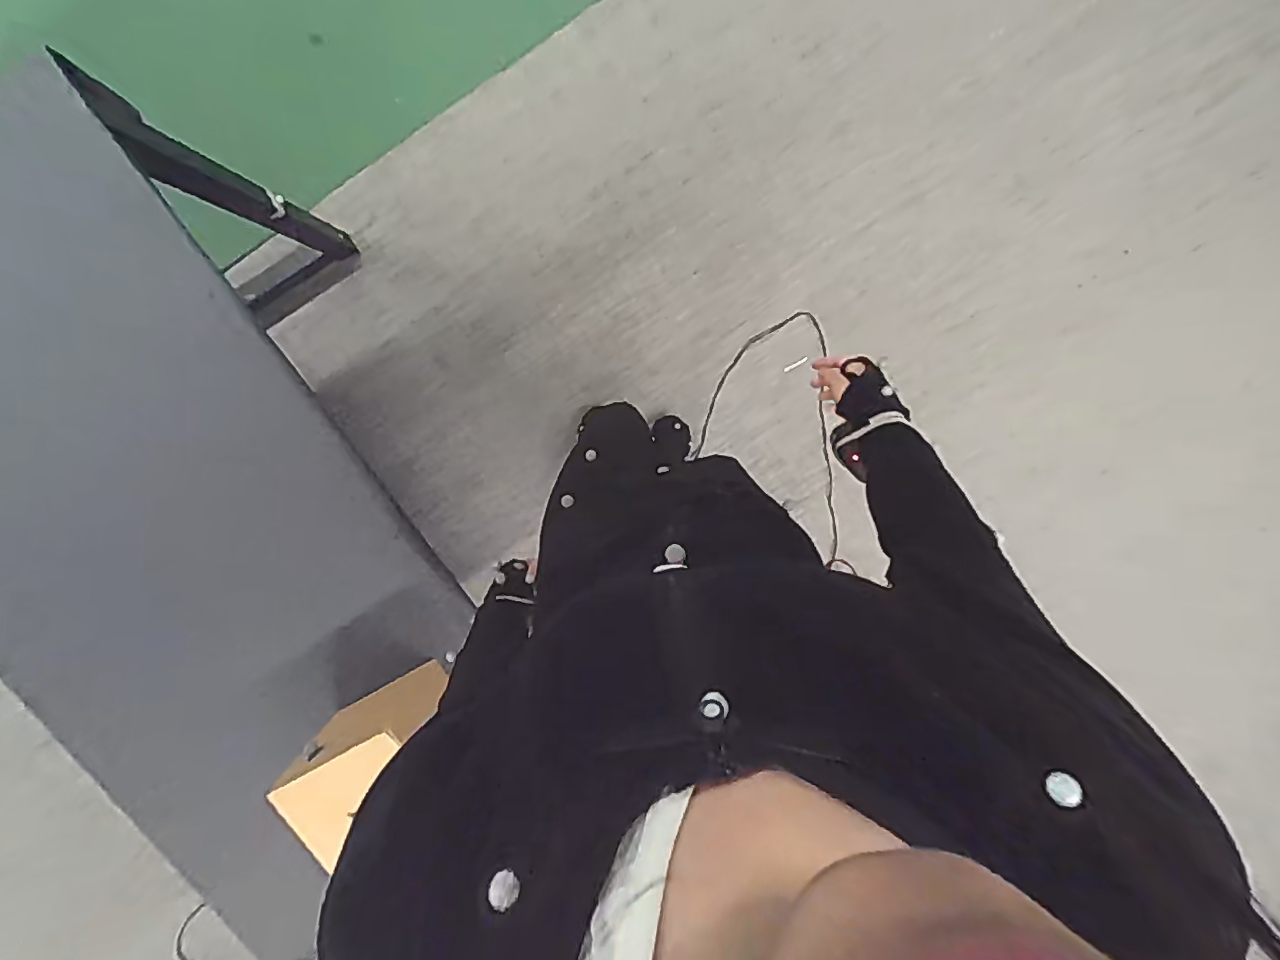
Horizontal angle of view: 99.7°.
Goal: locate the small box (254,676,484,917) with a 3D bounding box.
[{"bbox_3d":[-0.331,0.394,0.703,0.179,0.176,0.168,-30,100,2],"label":"small box"}]
